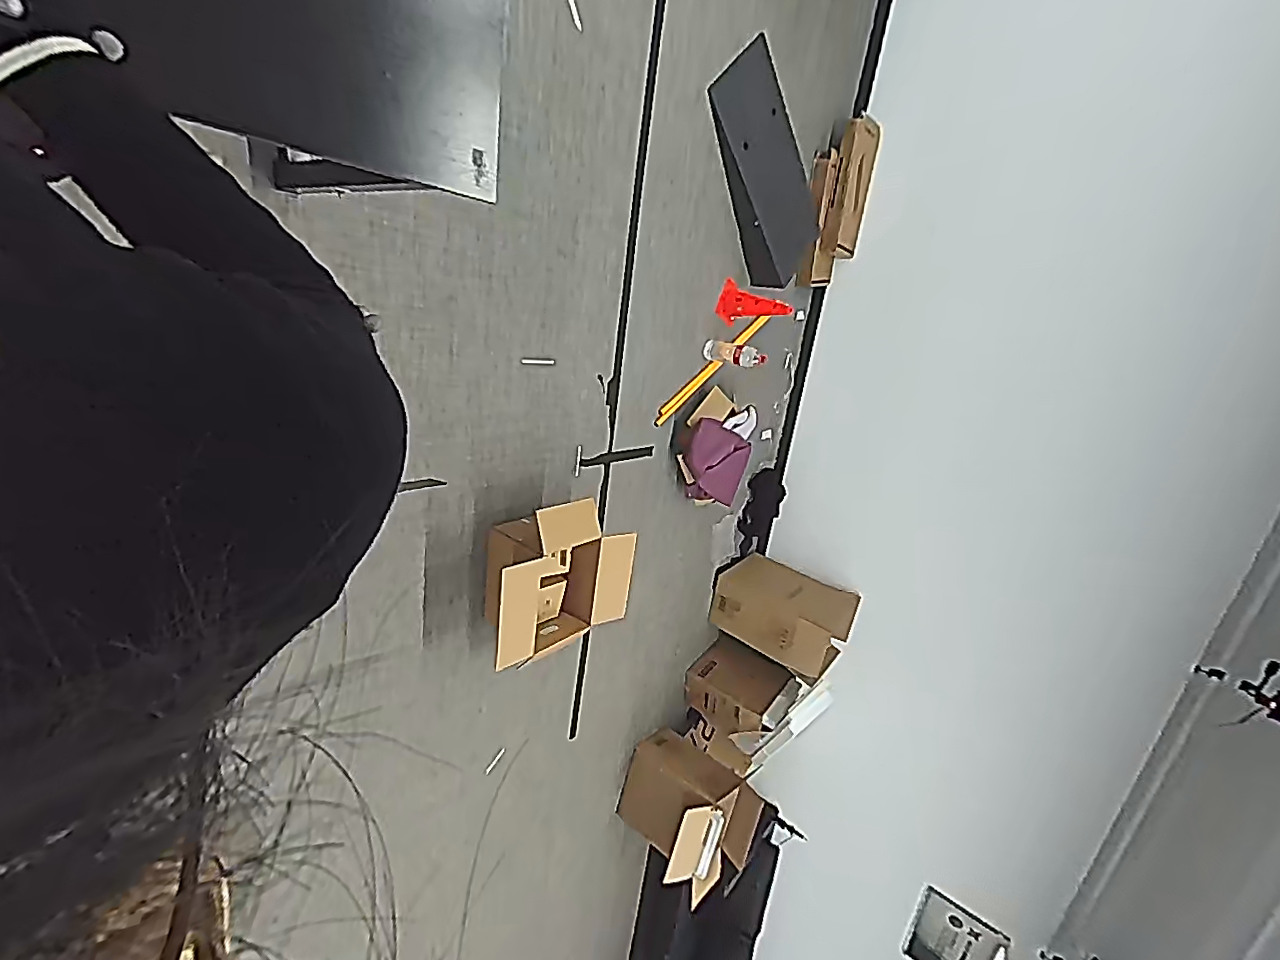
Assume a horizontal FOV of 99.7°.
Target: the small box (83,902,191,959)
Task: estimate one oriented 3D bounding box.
[{"bbox_3d":[-1.283,1.248,1.382,0.179,0.176,0.168,-8,111,-51],"label":"small box"}]
